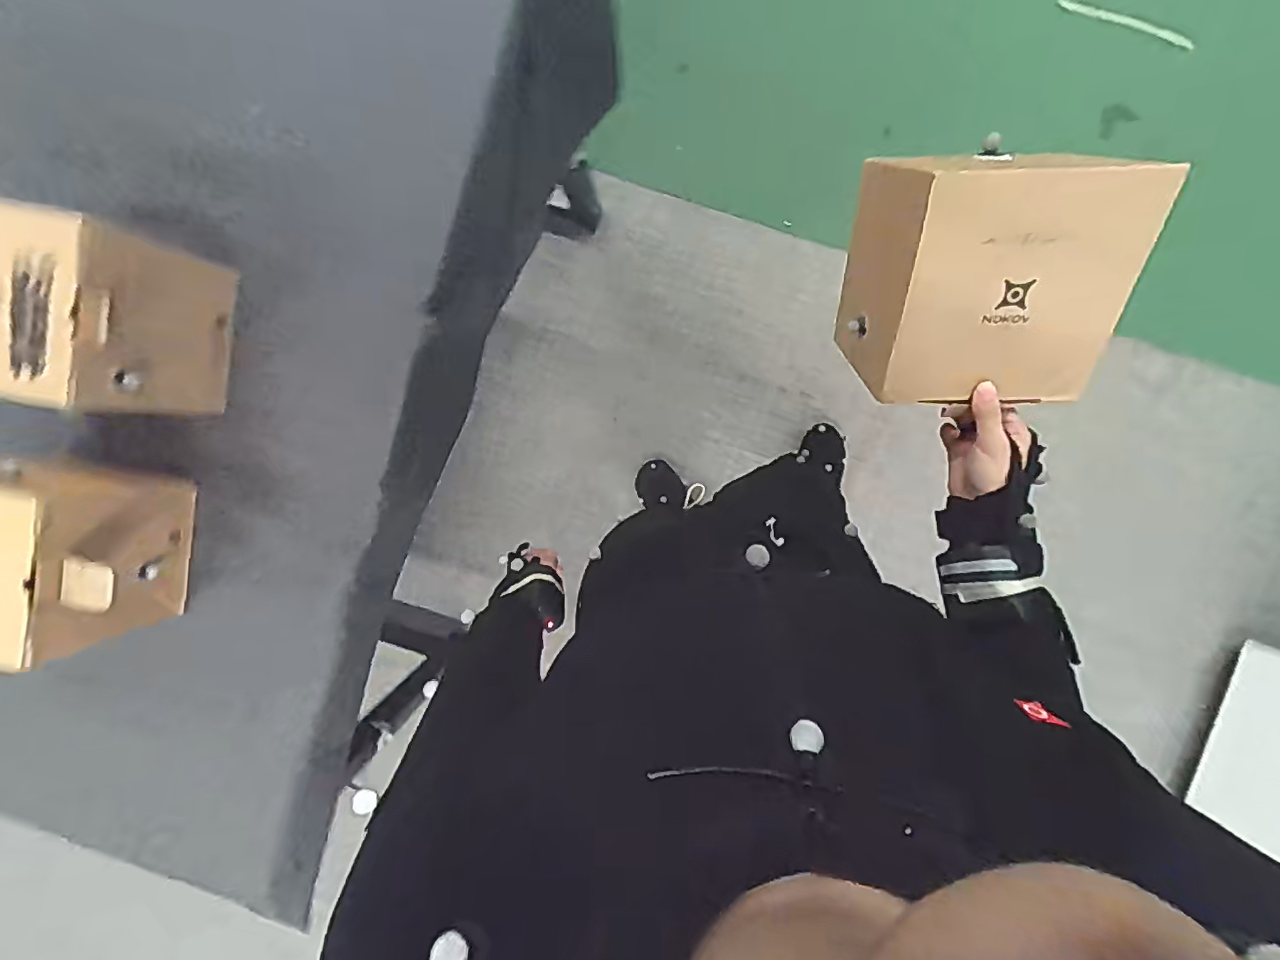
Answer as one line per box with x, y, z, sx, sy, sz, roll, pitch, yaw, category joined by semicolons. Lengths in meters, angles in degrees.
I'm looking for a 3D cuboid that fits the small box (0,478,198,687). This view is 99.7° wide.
-0.630;0.092;0.574;0.179;0.176;0.168;9;95;2;small box
